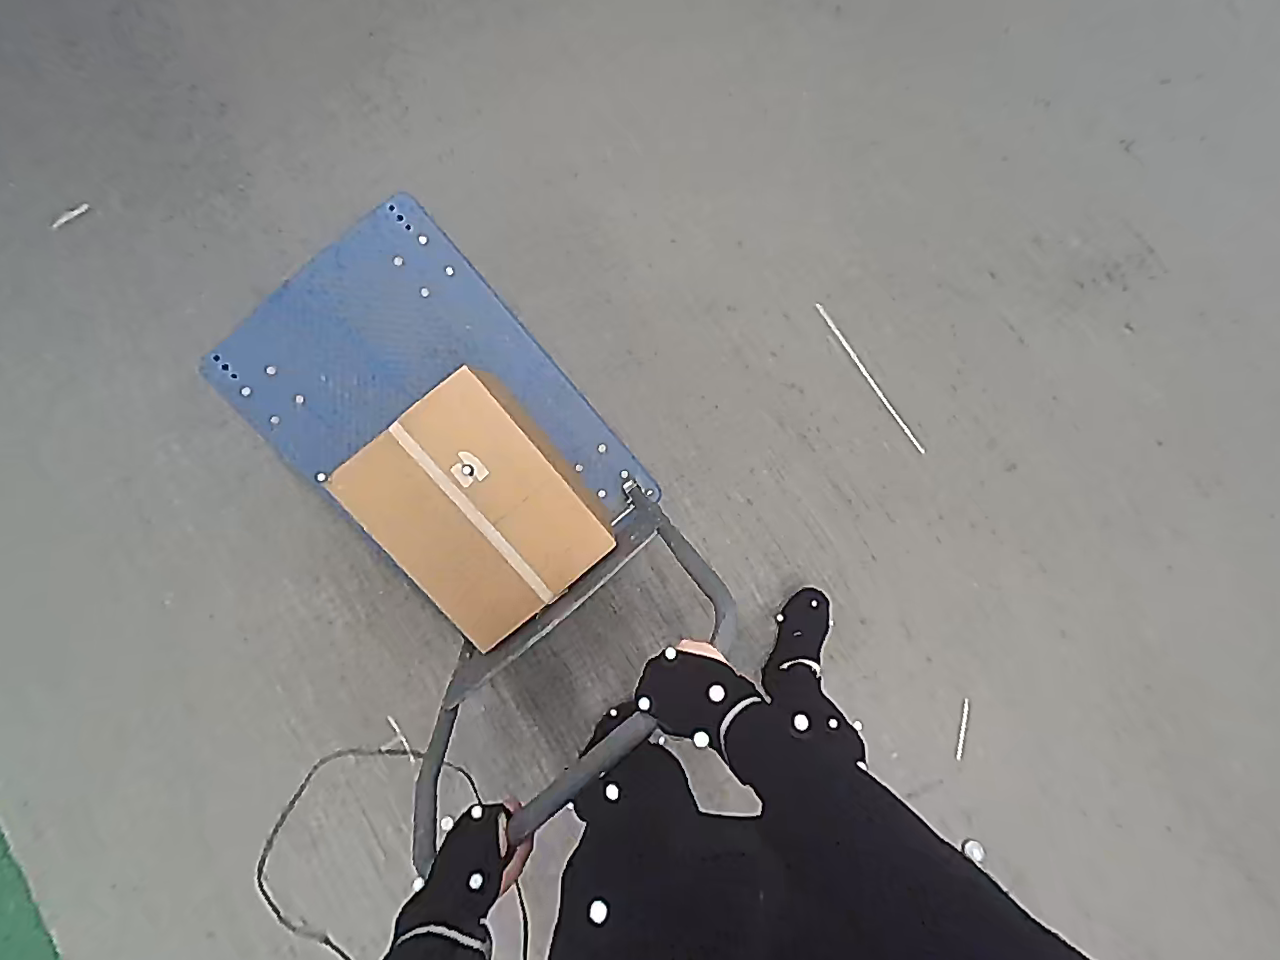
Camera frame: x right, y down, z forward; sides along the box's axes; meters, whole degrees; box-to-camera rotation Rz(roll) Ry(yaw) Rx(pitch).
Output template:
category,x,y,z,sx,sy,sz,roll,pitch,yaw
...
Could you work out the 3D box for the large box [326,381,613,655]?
category,x,y,z,sx,sy,sz,roll,pitch,yaw
large box,-0.301,0.055,1.084,0.320,0.320,0.408,-41,100,0
